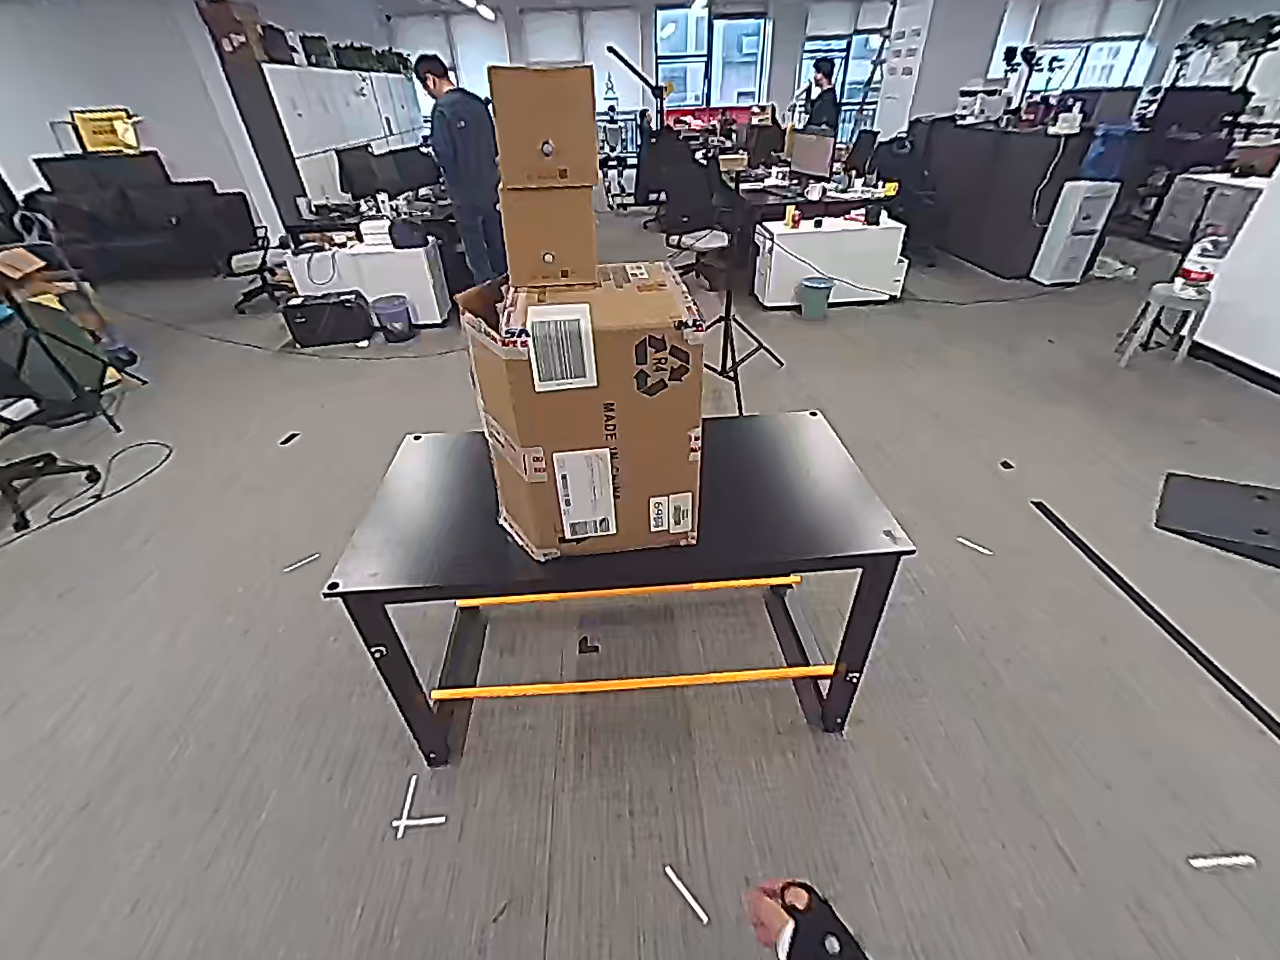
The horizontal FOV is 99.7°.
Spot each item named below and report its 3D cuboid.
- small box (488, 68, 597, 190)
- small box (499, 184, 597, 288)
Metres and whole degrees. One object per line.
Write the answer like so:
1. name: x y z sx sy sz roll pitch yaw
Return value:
1. small box: -0.169 -0.613 0.954 0.168 0.176 0.179 -7 34 -9
2. small box: -0.175 -0.480 1.052 0.168 0.176 0.179 -6 35 -7
